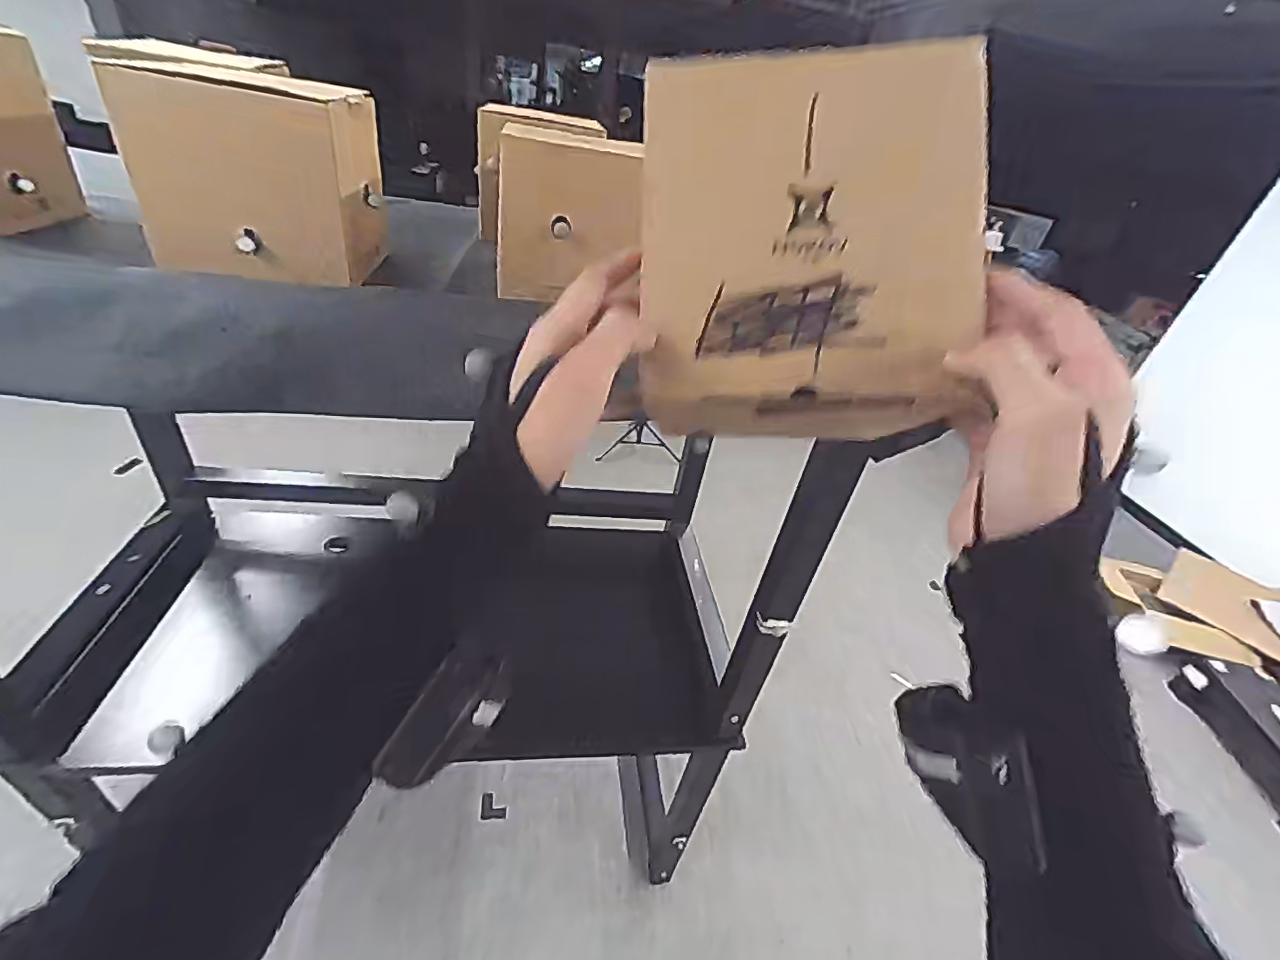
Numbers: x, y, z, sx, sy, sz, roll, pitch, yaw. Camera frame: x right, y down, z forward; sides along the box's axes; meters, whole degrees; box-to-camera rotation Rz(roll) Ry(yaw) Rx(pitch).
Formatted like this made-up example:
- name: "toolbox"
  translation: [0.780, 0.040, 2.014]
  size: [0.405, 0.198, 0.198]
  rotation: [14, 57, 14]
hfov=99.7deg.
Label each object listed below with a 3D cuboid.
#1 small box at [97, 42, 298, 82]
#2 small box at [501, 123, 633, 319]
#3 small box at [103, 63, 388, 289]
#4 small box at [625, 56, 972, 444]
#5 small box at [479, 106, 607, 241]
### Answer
- name: "small box"
  translation: [-0.572, -0.477, 0.745]
  size: [0.168, 0.176, 0.179]
  rotation: [-2, 37, -16]
- name: "small box"
  translation: [-0.072, -0.298, 0.626]
  size: [0.168, 0.176, 0.179]
  rotation: [2, 35, -13]
- name: "small box"
  translation: [-0.374, -0.310, 0.561]
  size: [0.179, 0.176, 0.168]
  rotation: [3, 35, -12]
- name: "small box"
  translation: [0.086, -0.116, 0.346]
  size: [0.168, 0.179, 0.176]
  rotation: [1, -2, 7]
- name: "small box"
  translation: [-0.150, -0.469, 0.845]
  size: [0.179, 0.176, 0.168]
  rotation: [3, 36, -11]
